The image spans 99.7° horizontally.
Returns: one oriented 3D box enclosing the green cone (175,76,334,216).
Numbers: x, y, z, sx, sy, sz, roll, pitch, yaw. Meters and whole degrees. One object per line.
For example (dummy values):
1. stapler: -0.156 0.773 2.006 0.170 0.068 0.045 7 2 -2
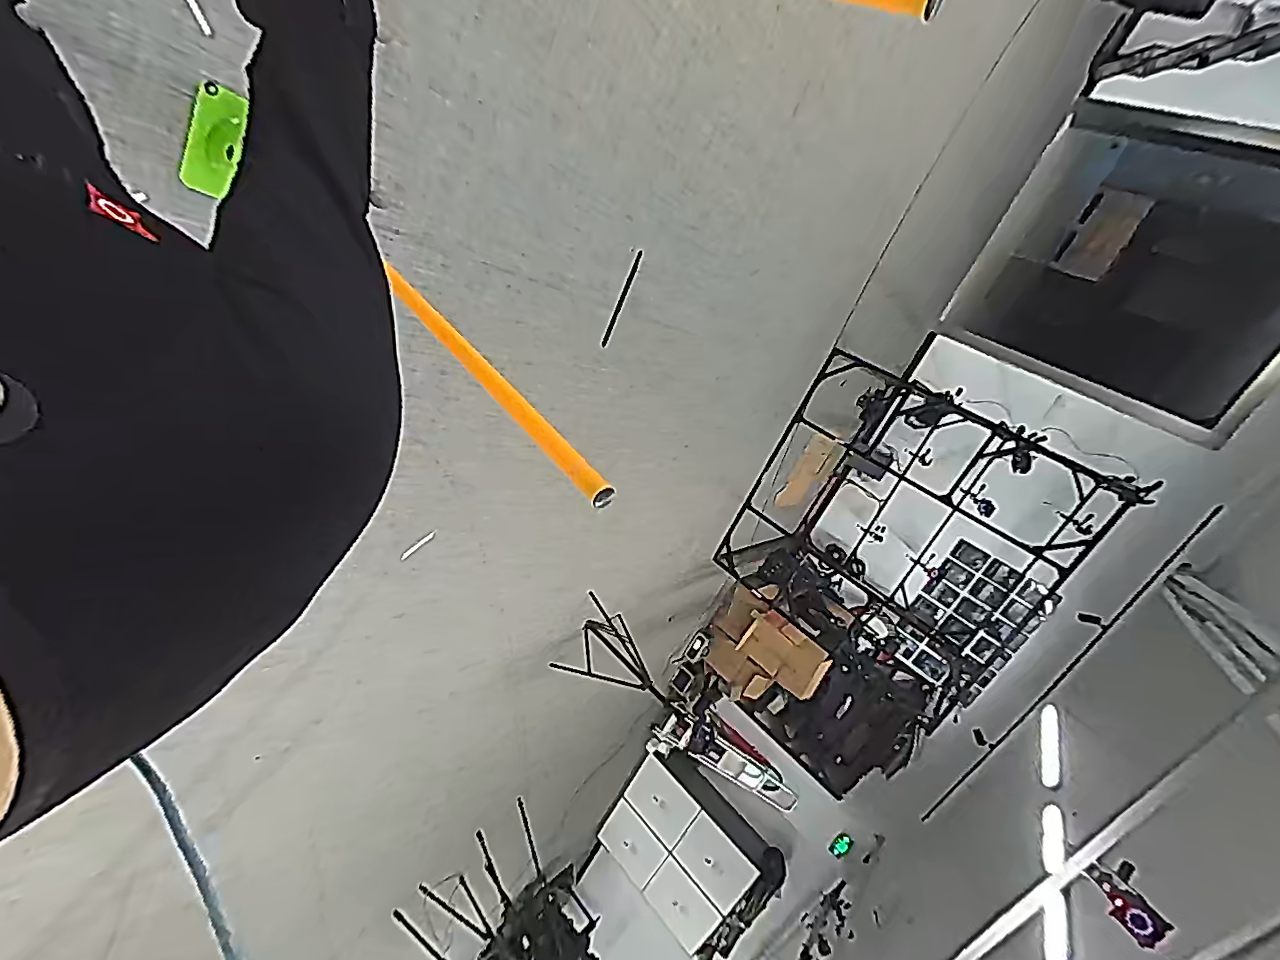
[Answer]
1. green cone: -0.689 -0.578 1.027 0.202 0.368 0.200 1 122 -58
